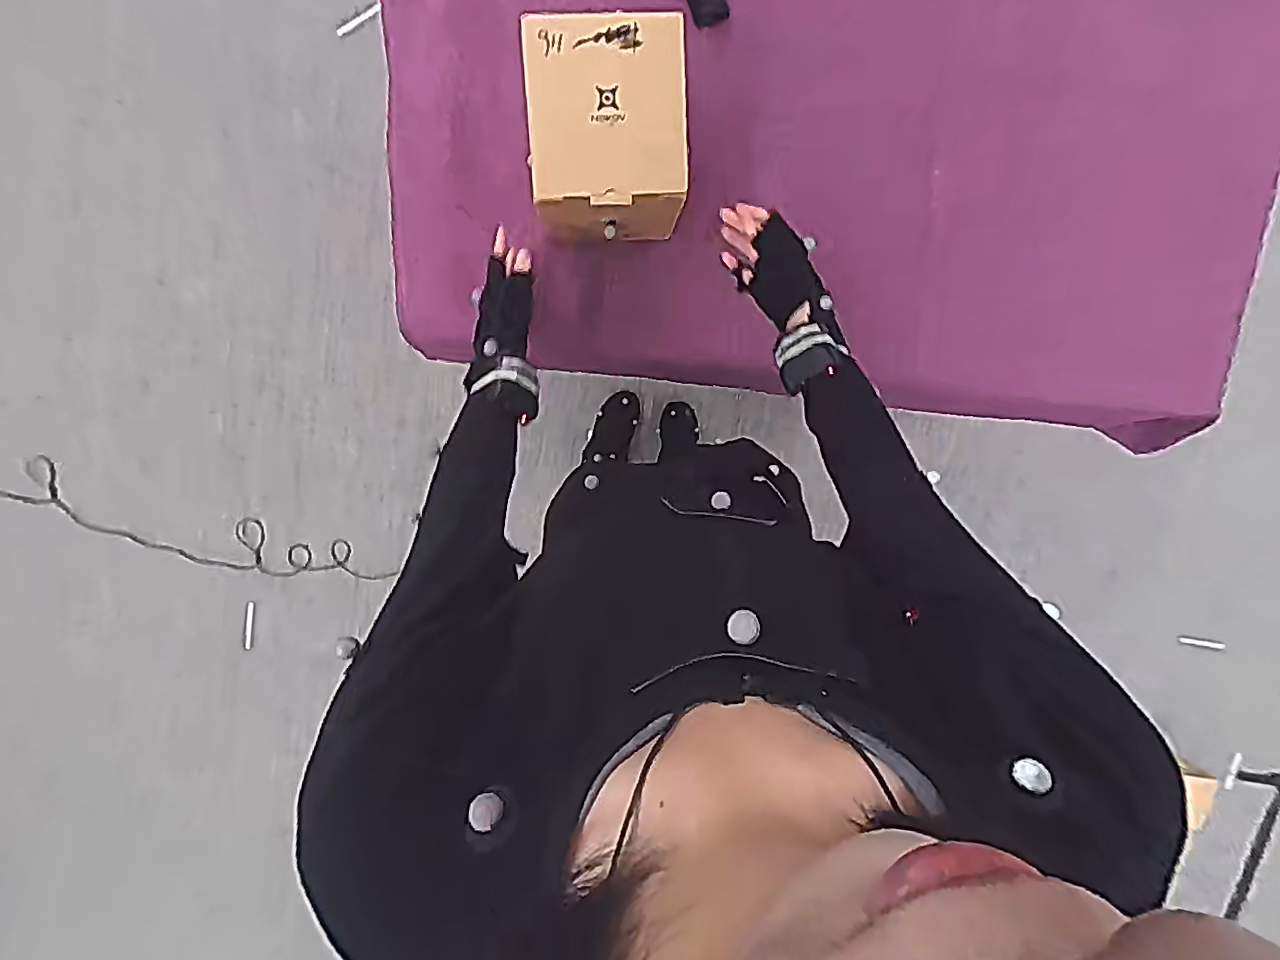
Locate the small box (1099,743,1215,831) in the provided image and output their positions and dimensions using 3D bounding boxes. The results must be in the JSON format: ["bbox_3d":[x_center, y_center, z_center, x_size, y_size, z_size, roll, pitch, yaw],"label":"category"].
[{"bbox_3d":[1.593,0.945,1.676,0.179,0.176,0.168,10,97,-3],"label":"small box"}]

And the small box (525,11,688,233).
[{"bbox_3d":[-0.035,-0.399,0.635,0.168,0.176,0.179,-3,100,-3],"label":"small box"}]
